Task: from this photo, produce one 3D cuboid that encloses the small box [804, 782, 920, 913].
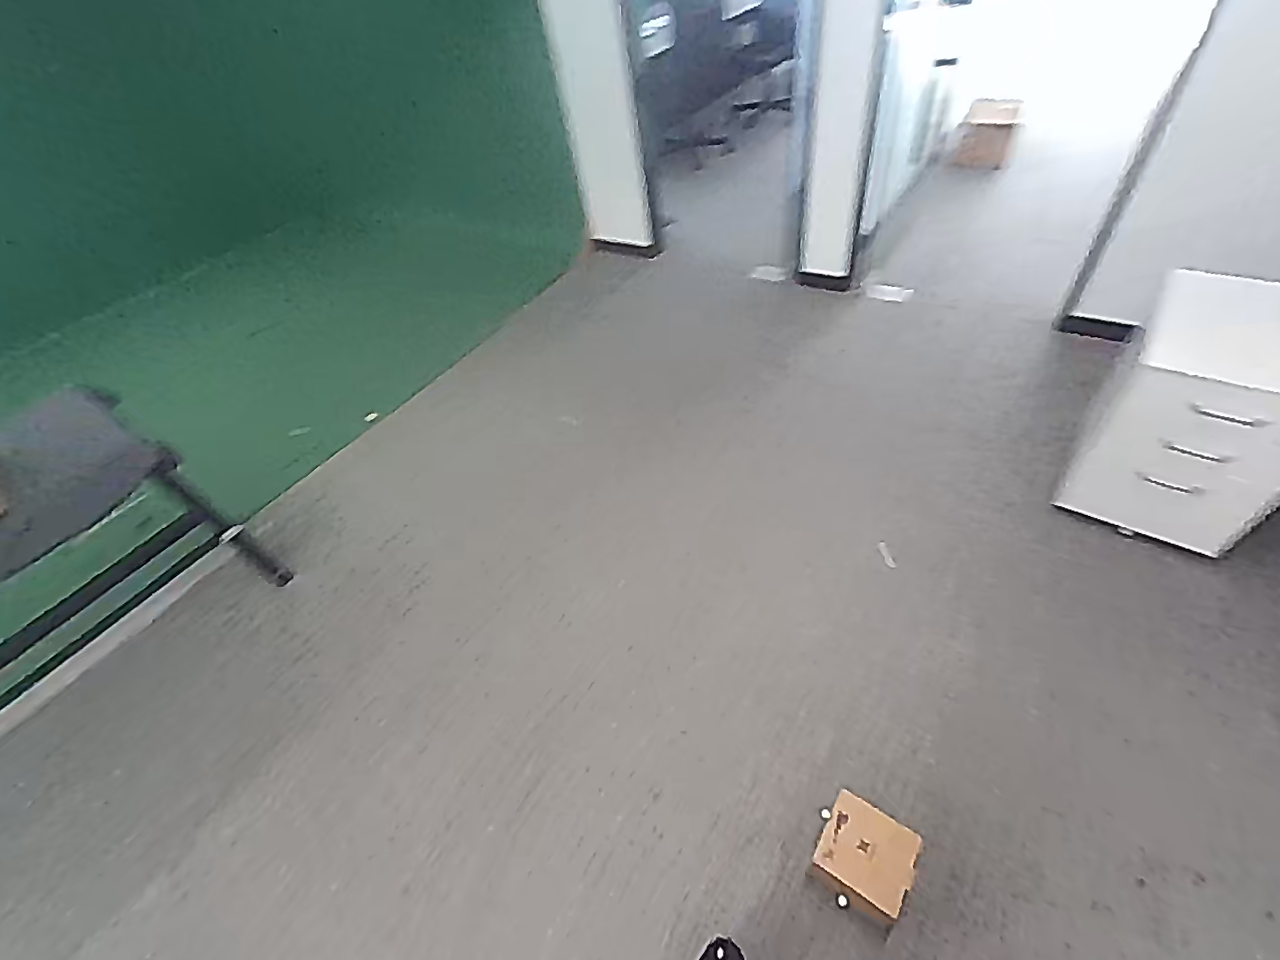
[{"bbox_3d":[0.485,0.816,1.200,0.179,0.176,0.168,25,57,28],"label":"small box"}]
